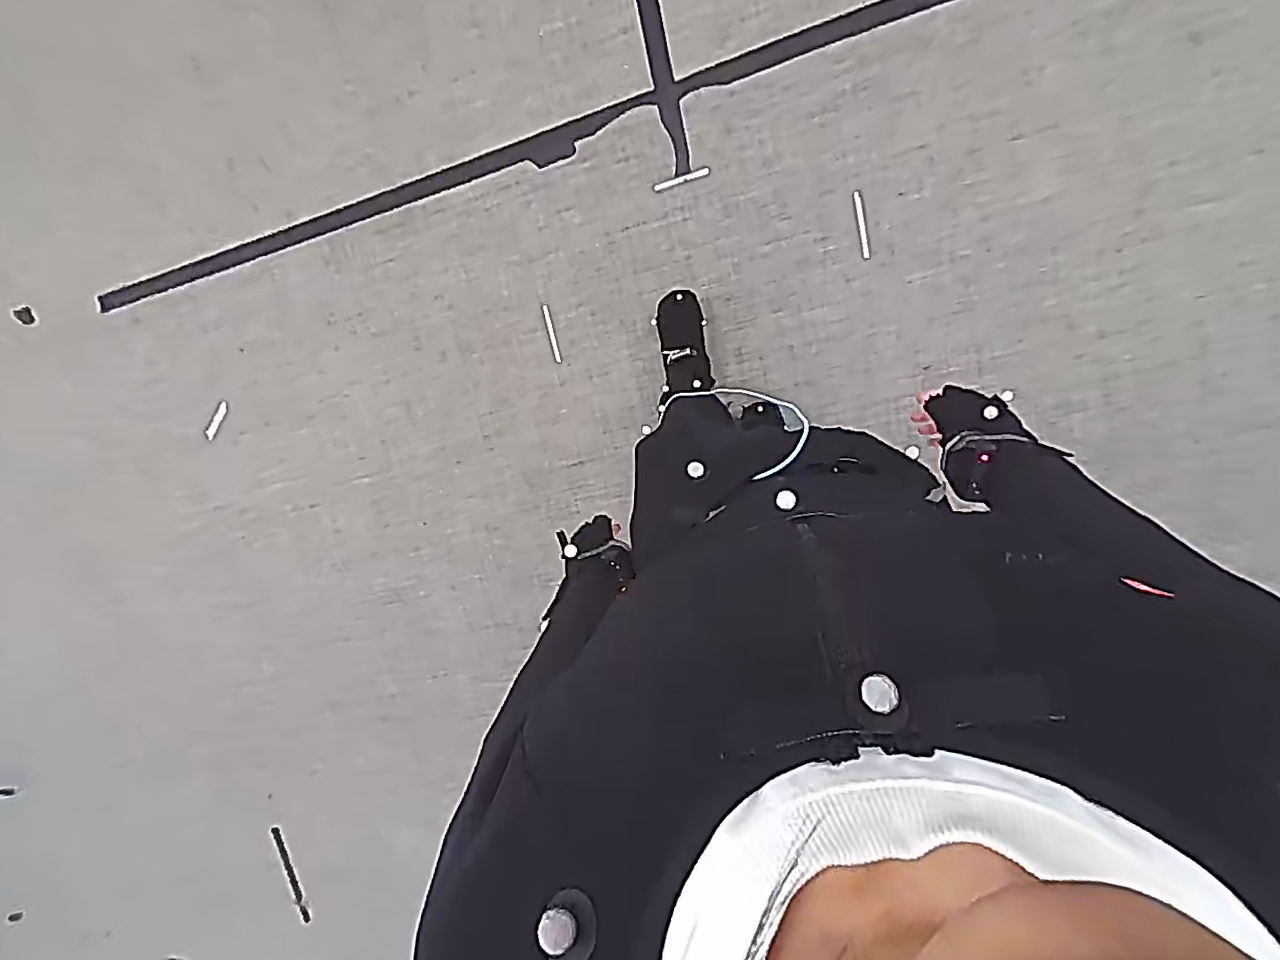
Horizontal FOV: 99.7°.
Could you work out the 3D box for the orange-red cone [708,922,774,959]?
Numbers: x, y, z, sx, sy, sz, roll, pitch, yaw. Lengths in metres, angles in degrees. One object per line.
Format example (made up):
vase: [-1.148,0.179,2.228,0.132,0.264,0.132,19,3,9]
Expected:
orange-red cone: [0.293,1.502,1.528,0.199,0.360,0.198,-7,98,11]

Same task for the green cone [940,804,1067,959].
green cone: [0.929,1.031,1.337,0.202,0.368,0.200,-12,99,9]
